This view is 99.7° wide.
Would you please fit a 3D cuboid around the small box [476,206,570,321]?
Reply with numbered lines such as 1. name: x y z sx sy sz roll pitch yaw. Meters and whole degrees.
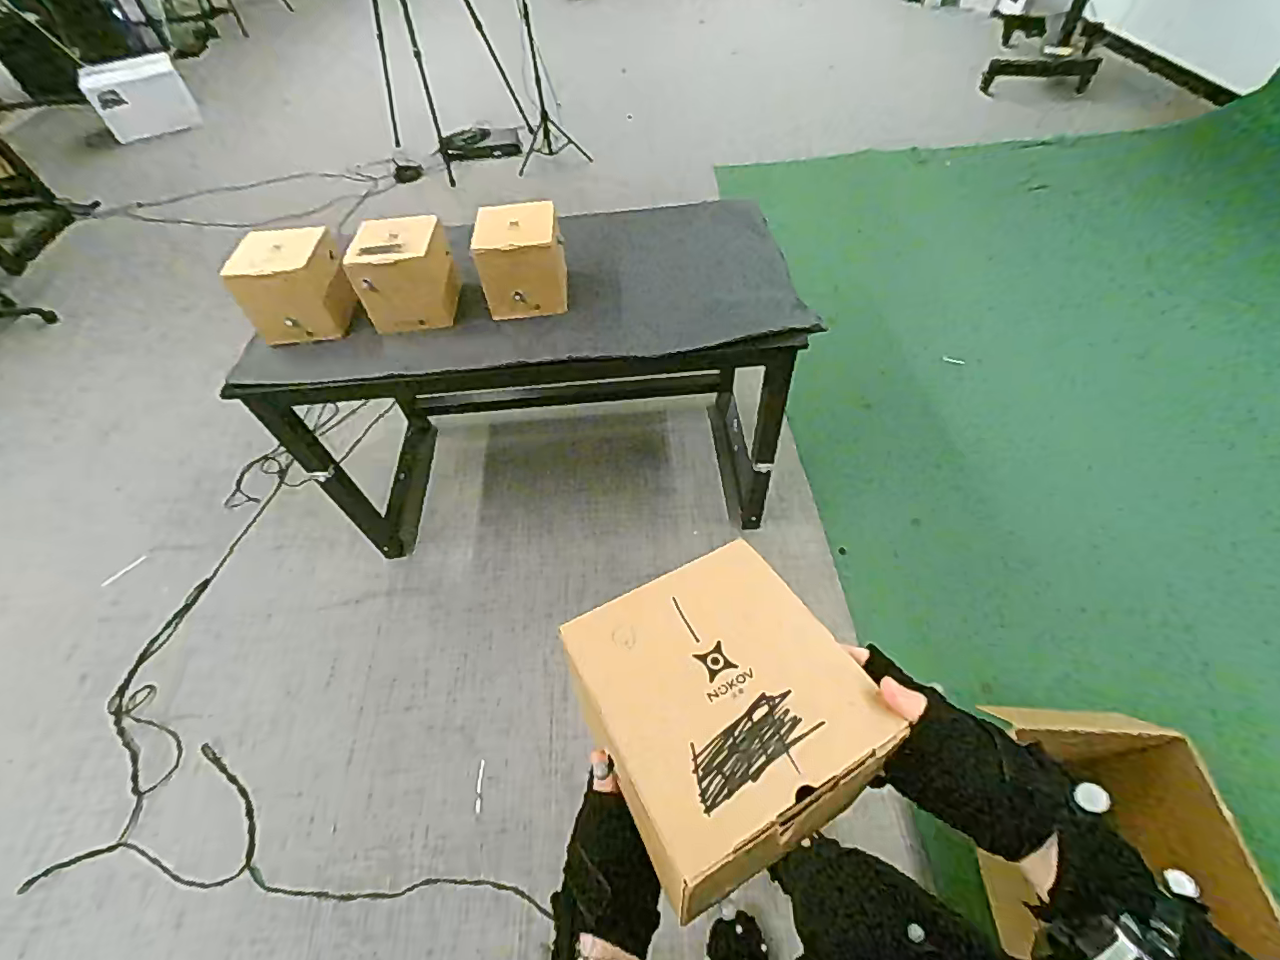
1. small box: -0.248 -0.474 1.189 0.168 0.176 0.179 -5 53 -1

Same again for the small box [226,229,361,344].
1. small box: -0.732 -0.417 1.170 0.168 0.176 0.179 -5 52 -2

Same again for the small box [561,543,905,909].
1. small box: 0.057 0.187 0.414 0.168 0.176 0.179 -22 46 -19
